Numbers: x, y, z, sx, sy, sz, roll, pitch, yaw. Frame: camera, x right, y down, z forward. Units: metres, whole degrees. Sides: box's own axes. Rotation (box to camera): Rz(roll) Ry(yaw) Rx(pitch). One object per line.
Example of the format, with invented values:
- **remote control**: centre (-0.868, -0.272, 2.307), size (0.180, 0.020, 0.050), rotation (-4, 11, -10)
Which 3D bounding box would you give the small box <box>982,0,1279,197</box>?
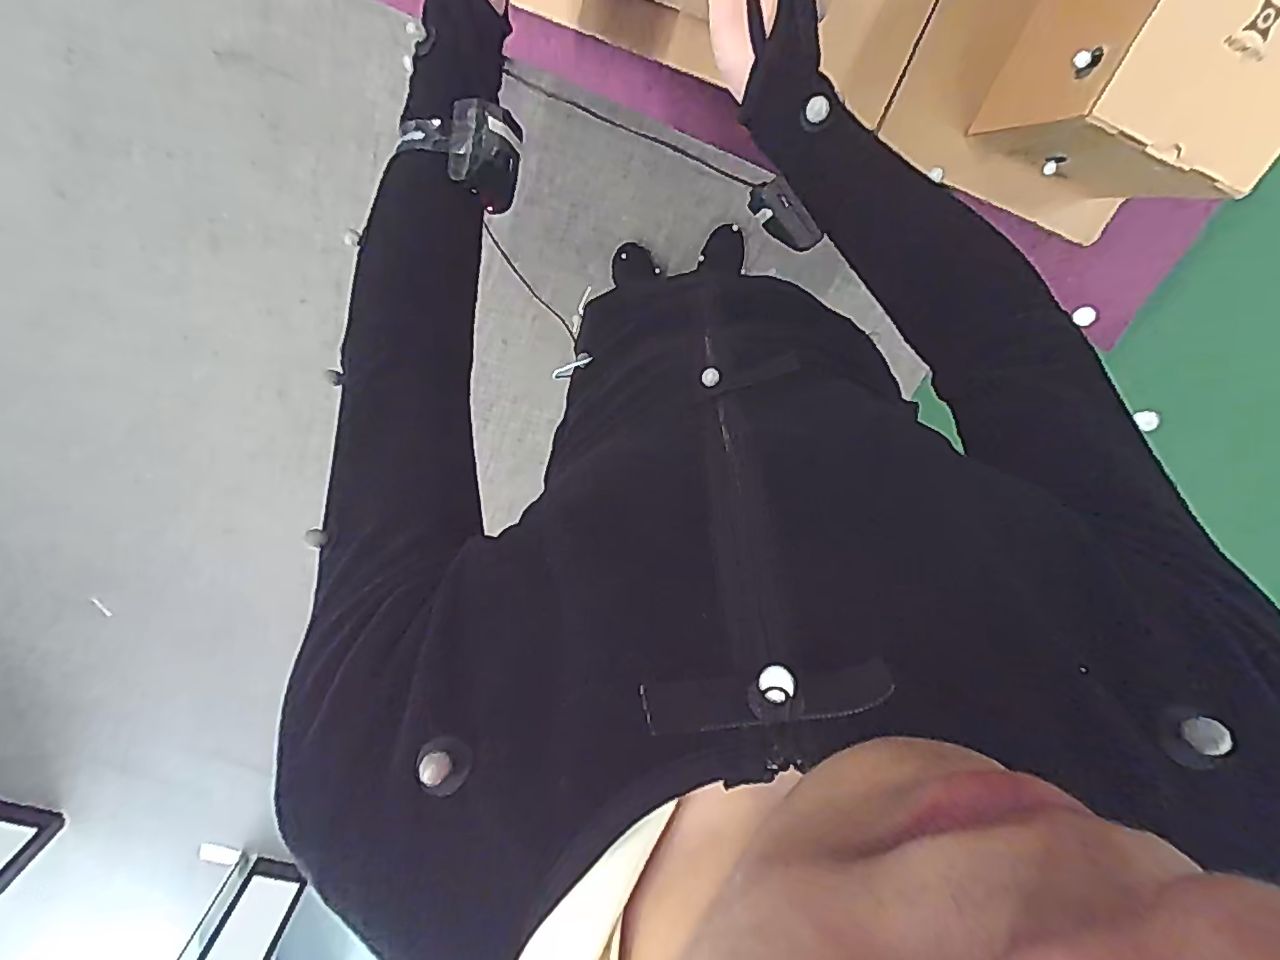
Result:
- **small box**: centre (0.439, -0.360, 0.451), size (0.168, 0.176, 0.179), rotation (16, 118, -11)
